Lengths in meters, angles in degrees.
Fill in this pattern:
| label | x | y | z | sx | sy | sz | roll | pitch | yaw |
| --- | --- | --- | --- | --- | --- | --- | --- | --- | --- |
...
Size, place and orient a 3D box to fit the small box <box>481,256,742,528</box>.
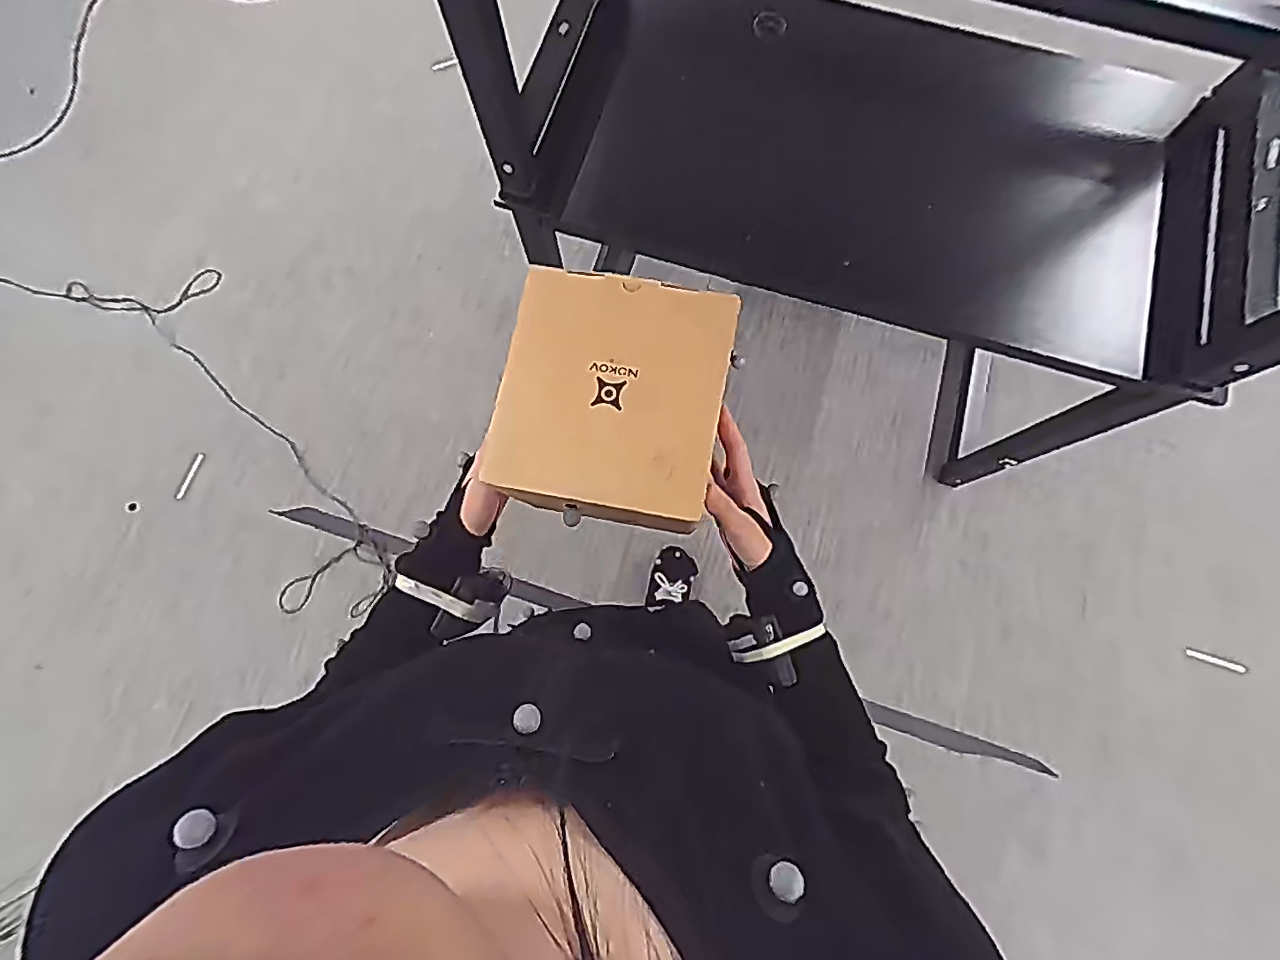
| label | x | y | z | sx | sy | sz | roll | pitch | yaw |
| --- | --- | --- | --- | --- | --- | --- | --- | --- | --- |
| small box | -0.014 | -0.060 | 0.472 | 0.168 | 0.176 | 0.179 | 11 | 80 | 5 |
